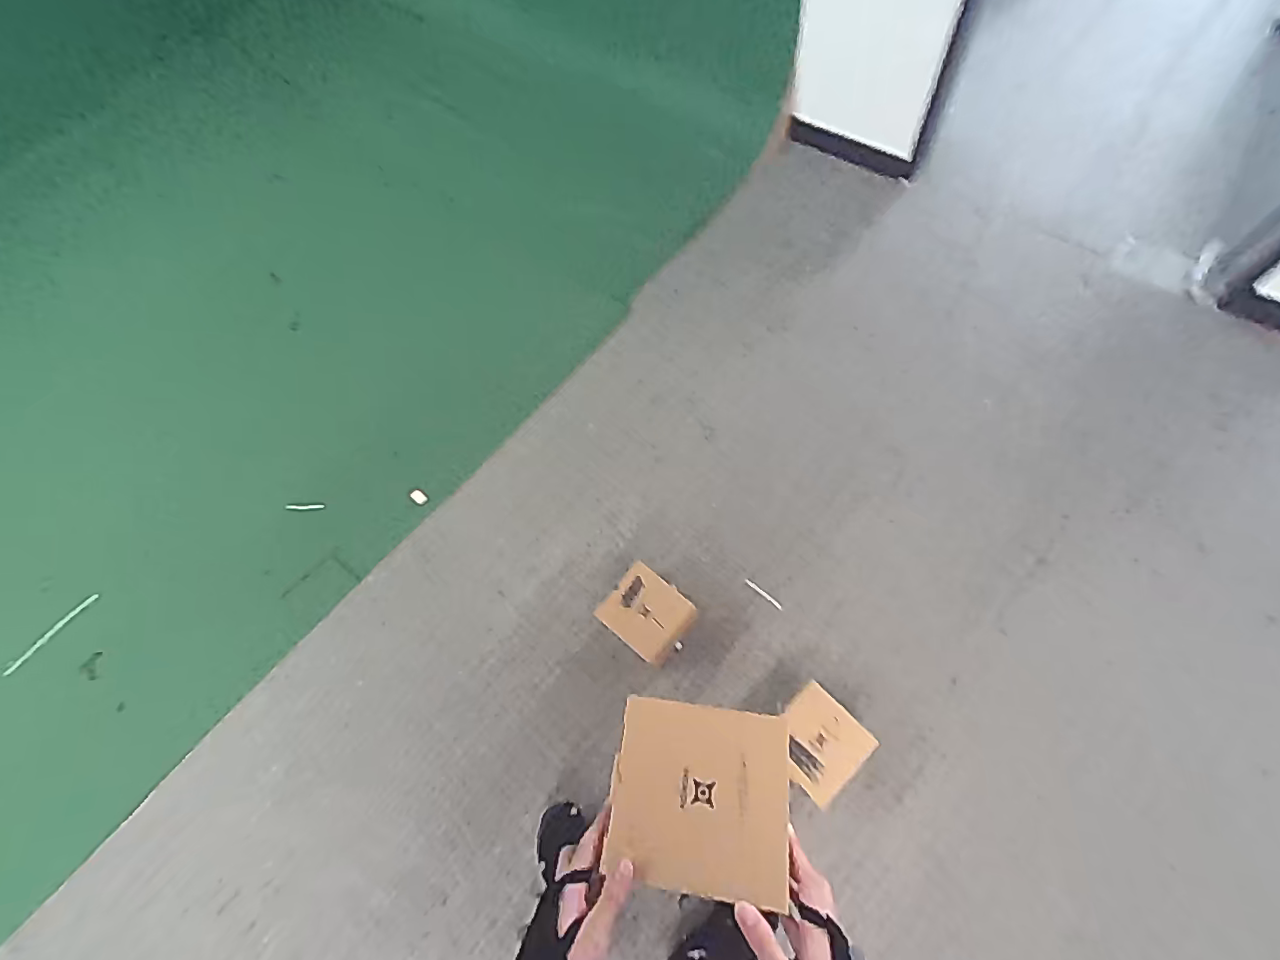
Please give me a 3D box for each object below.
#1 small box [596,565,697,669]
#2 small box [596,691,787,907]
[{"bbox_3d":[0.022,0.338,1.312,0.179,0.176,0.168,37,76,20],"label":"small box"},{"bbox_3d":[0.061,0.350,0.598,0.179,0.176,0.168,5,56,8],"label":"small box"}]
